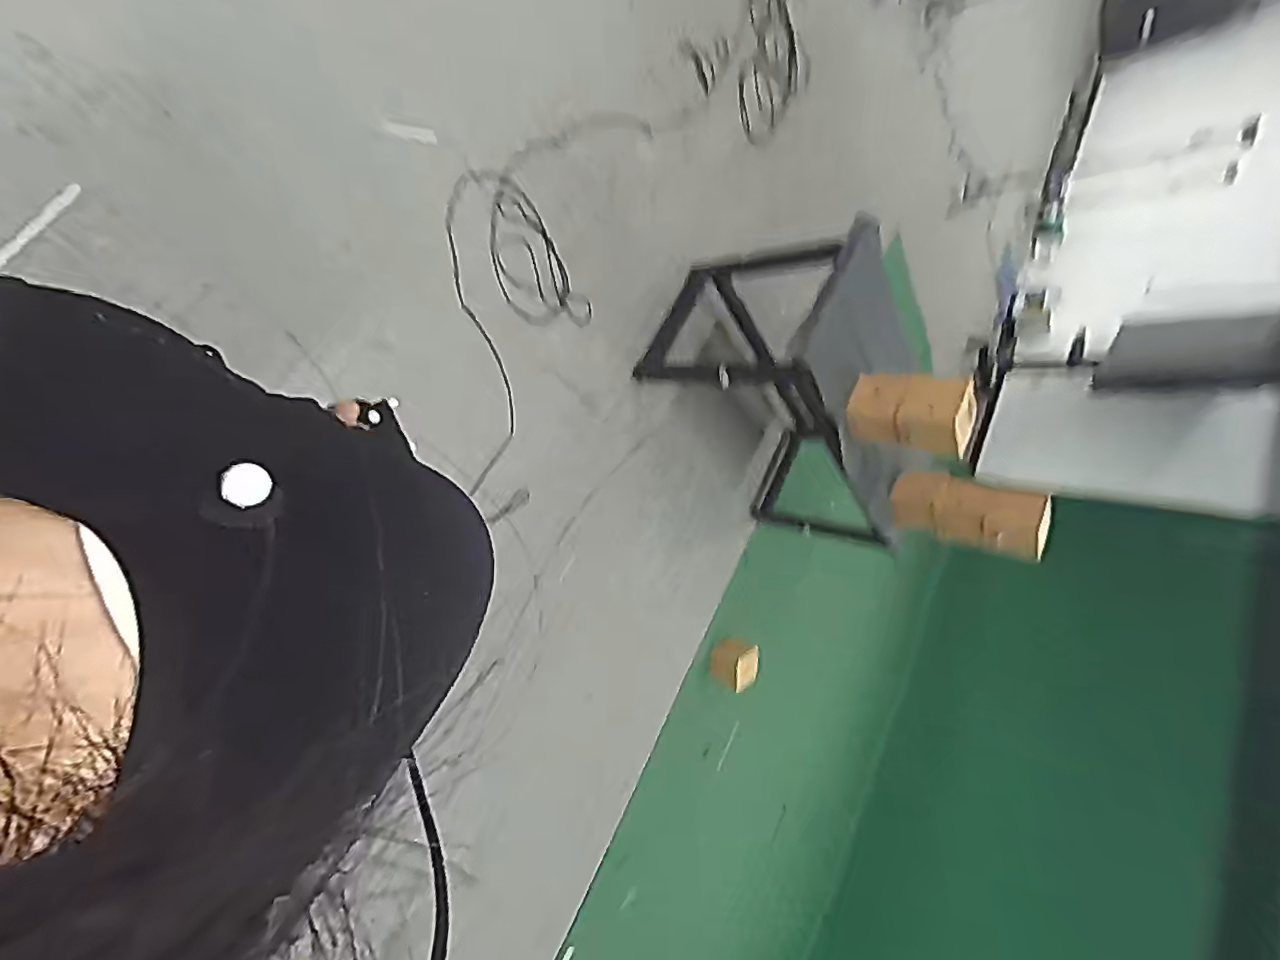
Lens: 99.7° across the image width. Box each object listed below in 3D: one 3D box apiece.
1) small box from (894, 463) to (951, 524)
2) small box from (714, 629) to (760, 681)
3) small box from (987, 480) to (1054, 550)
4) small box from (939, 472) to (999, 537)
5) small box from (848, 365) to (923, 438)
[{"bbox_3d":[1.125,0.048,2.153,0.179,0.176,0.168,-46,128,-31],"label":"small box"},{"bbox_3d":[0.489,0.881,2.741,0.179,0.176,0.168,-17,110,-43],"label":"small box"},{"bbox_3d":[1.363,0.119,1.940,0.179,0.176,0.168,-55,131,-23],"label":"small box"},{"bbox_3d":[1.245,0.088,2.050,0.179,0.176,0.168,-51,131,-28],"label":"small box"},{"bbox_3d":[0.805,-0.259,1.774,0.168,0.176,0.179,44,67,-41],"label":"small box"}]
